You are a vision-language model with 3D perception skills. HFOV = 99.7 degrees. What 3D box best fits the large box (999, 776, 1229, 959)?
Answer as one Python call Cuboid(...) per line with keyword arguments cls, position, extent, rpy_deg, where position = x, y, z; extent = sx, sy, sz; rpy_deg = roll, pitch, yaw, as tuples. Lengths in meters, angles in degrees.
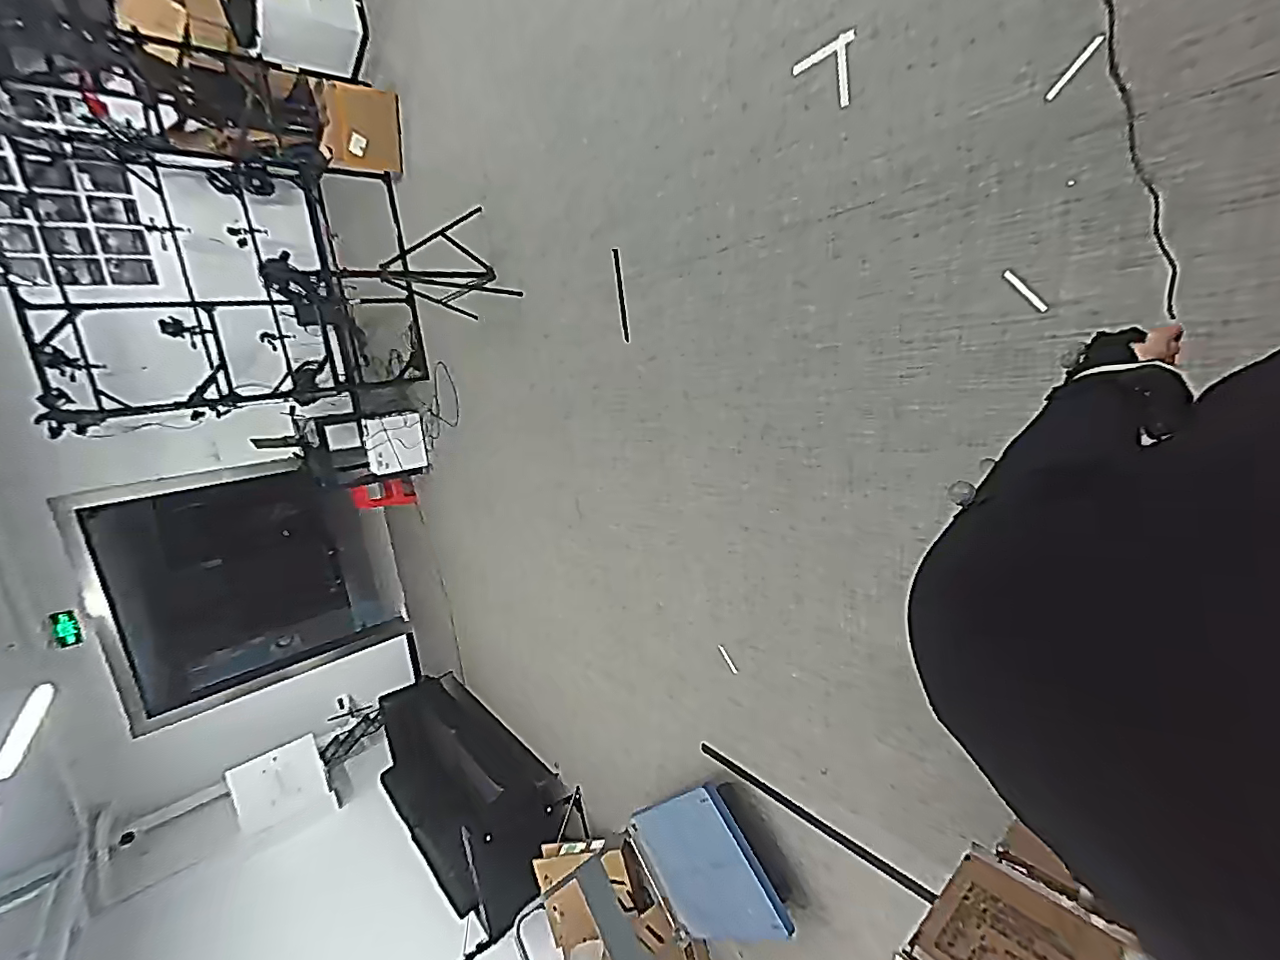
Cuboid(cls="large box", position=(1.004, 0.956, 1.158), extent=(0.320, 0.320, 0.408), rpy_deg=(8, 108, 51))
